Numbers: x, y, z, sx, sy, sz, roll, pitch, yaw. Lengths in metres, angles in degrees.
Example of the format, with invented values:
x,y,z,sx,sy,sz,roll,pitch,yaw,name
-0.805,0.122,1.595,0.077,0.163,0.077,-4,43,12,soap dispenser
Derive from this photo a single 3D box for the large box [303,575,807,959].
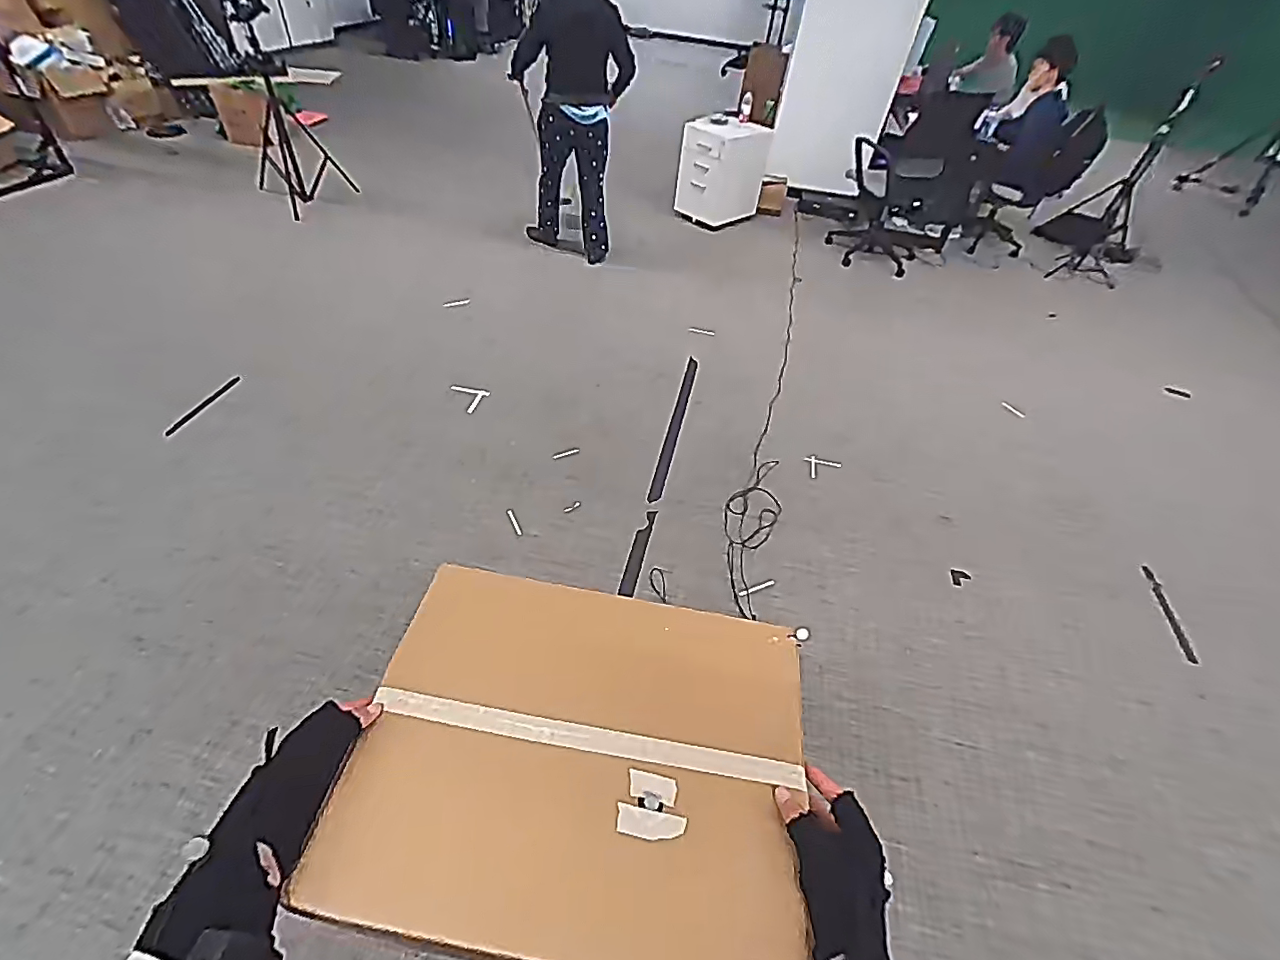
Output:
x,y,z,sx,sy,sz,roll,pitch,yaw,name
-0.063,0.350,0.621,0.408,0.320,0.320,10,47,2,large box
